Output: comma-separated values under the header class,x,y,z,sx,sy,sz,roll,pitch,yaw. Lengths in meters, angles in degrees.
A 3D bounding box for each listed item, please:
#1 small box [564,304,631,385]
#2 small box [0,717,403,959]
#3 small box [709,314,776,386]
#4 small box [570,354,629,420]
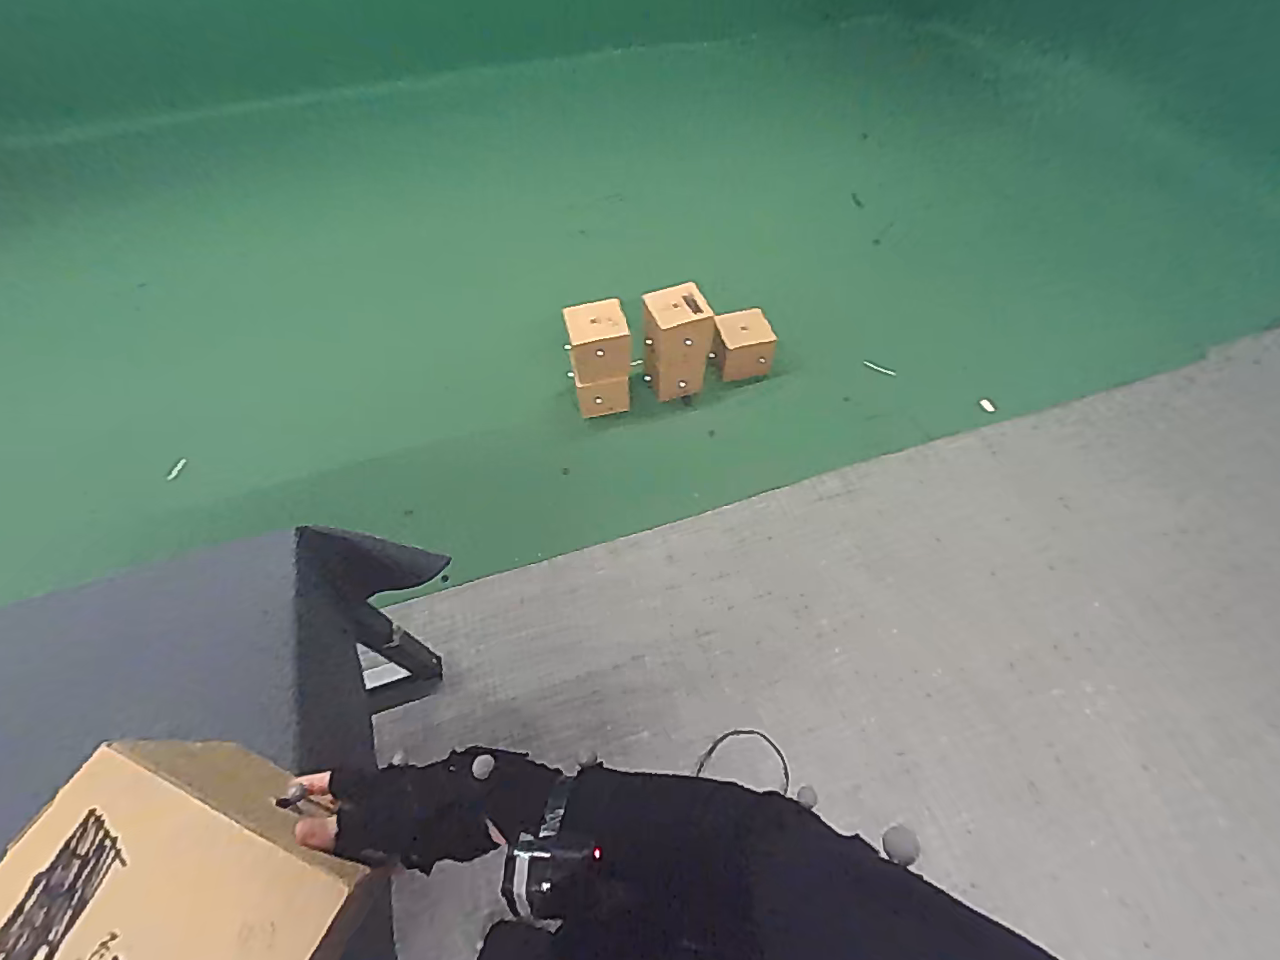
class,x,y,z,sx,sy,sz,roll,pitch,yaw
small box,-0.130,-0.420,1.701,0.179,0.176,0.168,-12,58,-7
small box,-0.291,0.283,0.357,0.179,0.176,0.168,29,62,3
small box,0.357,-0.459,1.917,0.179,0.176,0.168,-12,58,-8
small box,-0.134,-0.321,1.834,0.168,0.176,0.179,-12,58,-7
